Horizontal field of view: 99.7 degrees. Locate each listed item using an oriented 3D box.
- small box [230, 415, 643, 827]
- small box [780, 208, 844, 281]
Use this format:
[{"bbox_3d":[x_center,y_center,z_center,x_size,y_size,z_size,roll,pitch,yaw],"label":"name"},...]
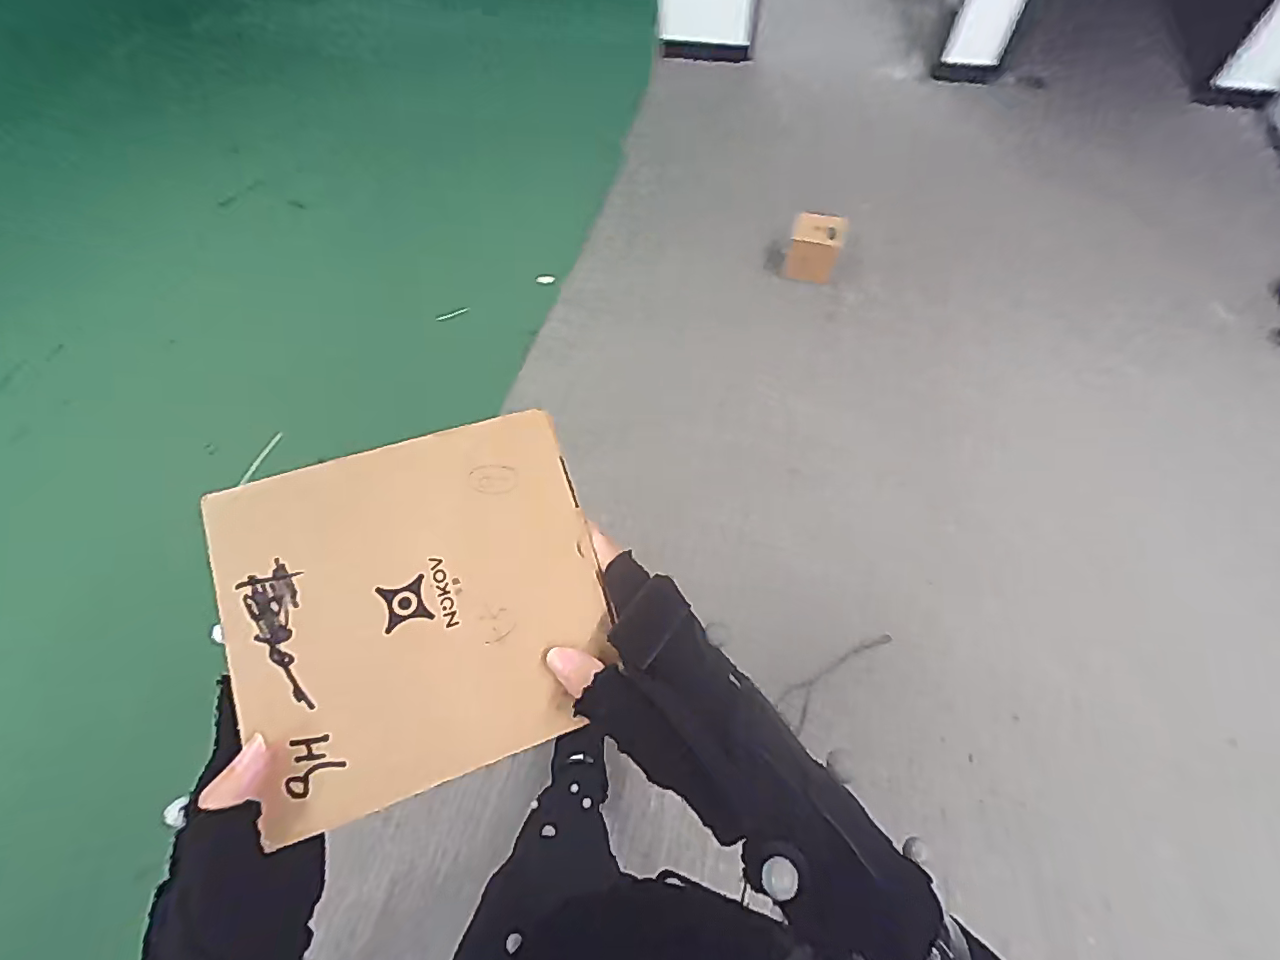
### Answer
[{"bbox_3d":[-0.115,0.079,0.350,0.179,0.176,0.168,-15,76,-13],"label":"small box"},{"bbox_3d":[0.625,-0.854,1.973,0.179,0.176,0.168,12,61,8],"label":"small box"}]
